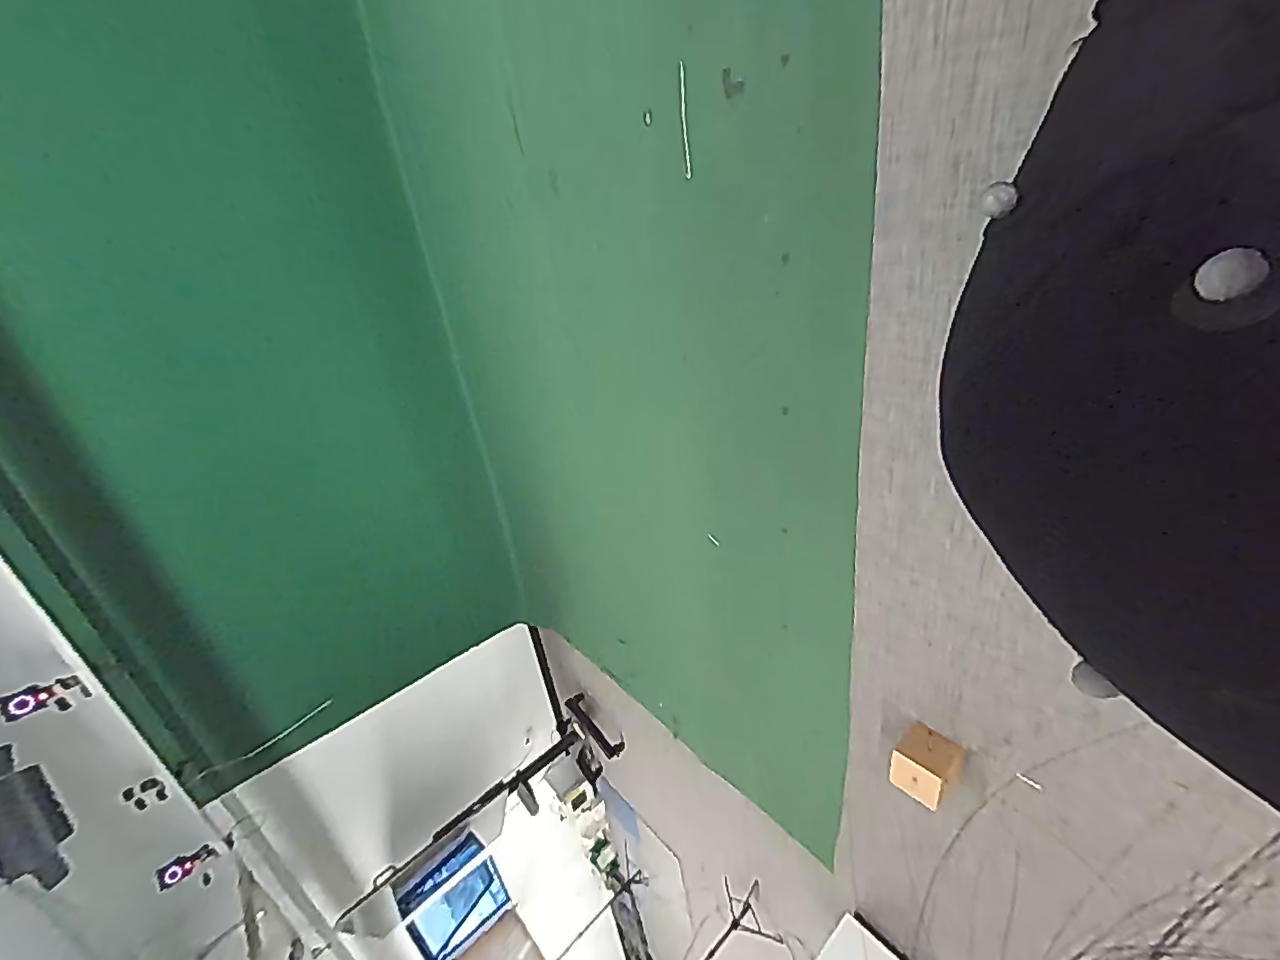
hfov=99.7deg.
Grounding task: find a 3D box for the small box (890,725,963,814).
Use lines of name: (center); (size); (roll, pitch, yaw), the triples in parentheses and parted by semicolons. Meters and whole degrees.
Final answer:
small box: (1.003, 1.004, 1.891); (0.168, 0.176, 0.179); (23, 129, 47)
